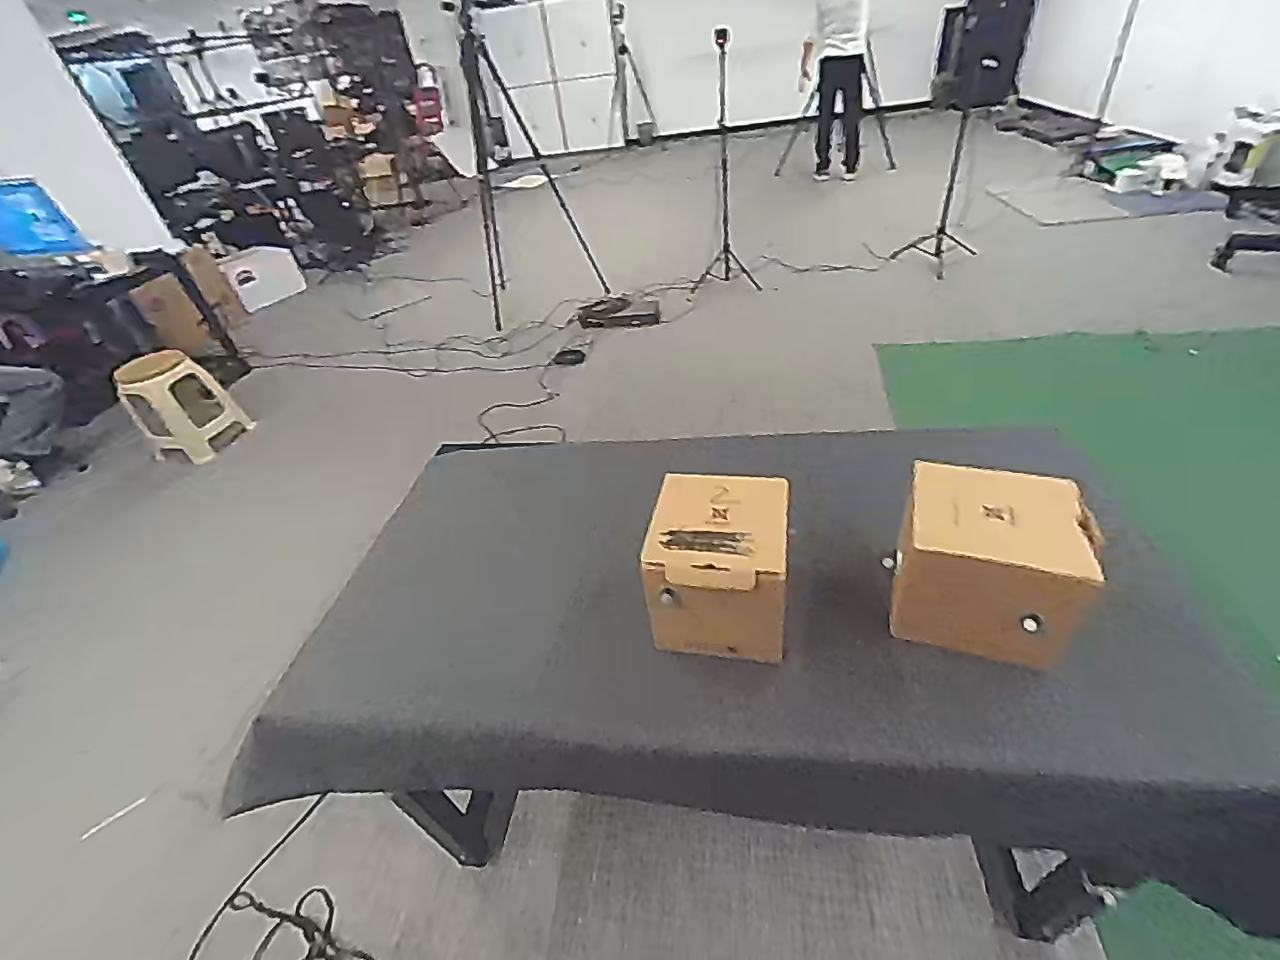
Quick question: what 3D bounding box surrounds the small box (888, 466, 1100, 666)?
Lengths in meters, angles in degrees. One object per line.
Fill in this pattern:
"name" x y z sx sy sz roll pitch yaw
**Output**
"small box" 0.423 0.106 0.677 0.179 0.176 0.168 8 41 22
